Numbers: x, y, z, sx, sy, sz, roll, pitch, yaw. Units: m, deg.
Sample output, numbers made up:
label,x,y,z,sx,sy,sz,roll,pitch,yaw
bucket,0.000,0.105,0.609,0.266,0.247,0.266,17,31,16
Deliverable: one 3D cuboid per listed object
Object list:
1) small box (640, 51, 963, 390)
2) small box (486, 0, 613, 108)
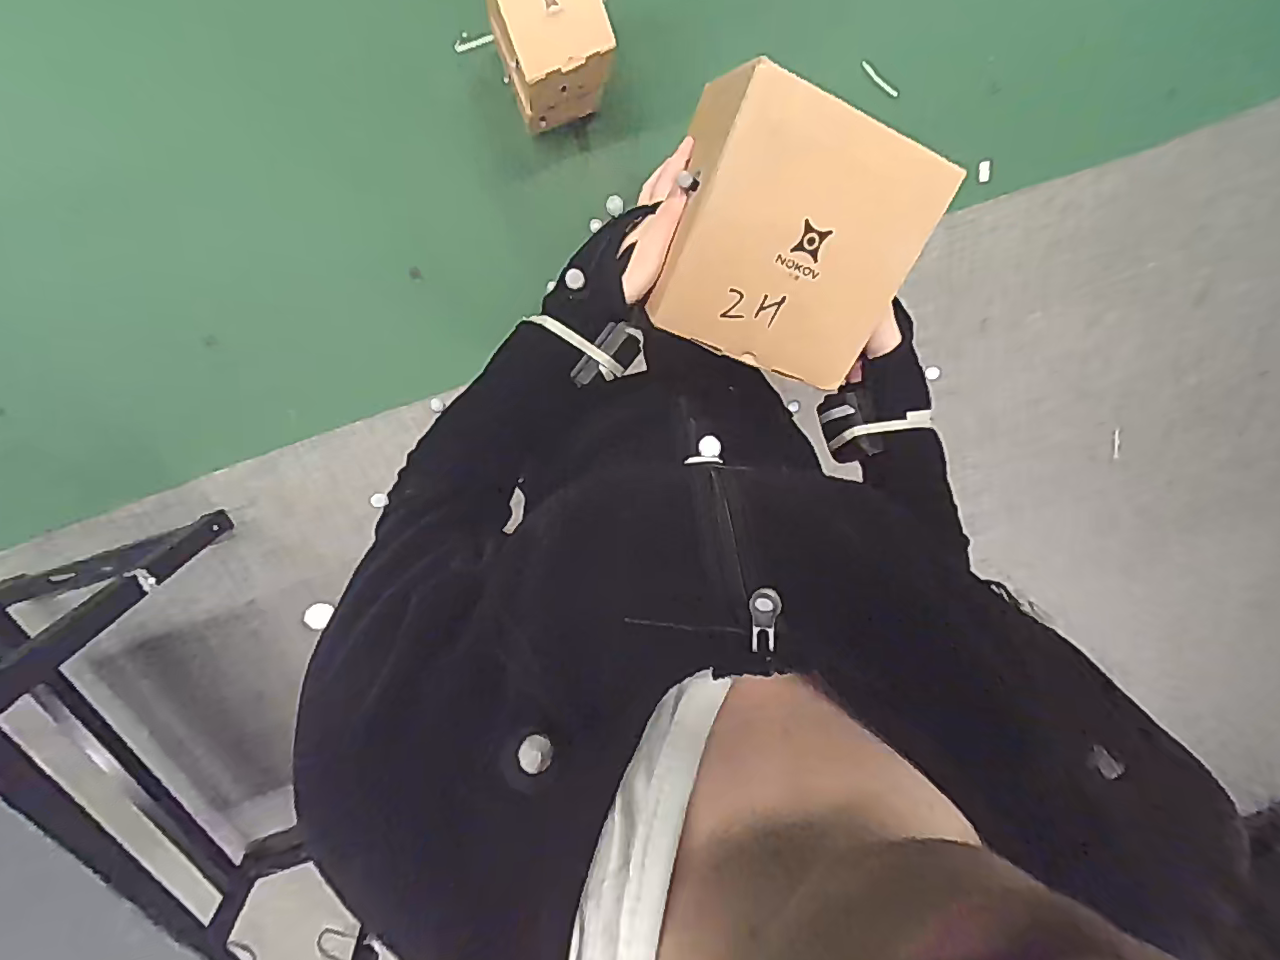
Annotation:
label,x,y,z,sx,sy,sz,roll,pitch,yaw
small box,0.108,-0.206,0.452,0.168,0.176,0.179,17,117,-16
small box,-0.163,-0.796,0.943,0.168,0.176,0.179,-24,113,-1
